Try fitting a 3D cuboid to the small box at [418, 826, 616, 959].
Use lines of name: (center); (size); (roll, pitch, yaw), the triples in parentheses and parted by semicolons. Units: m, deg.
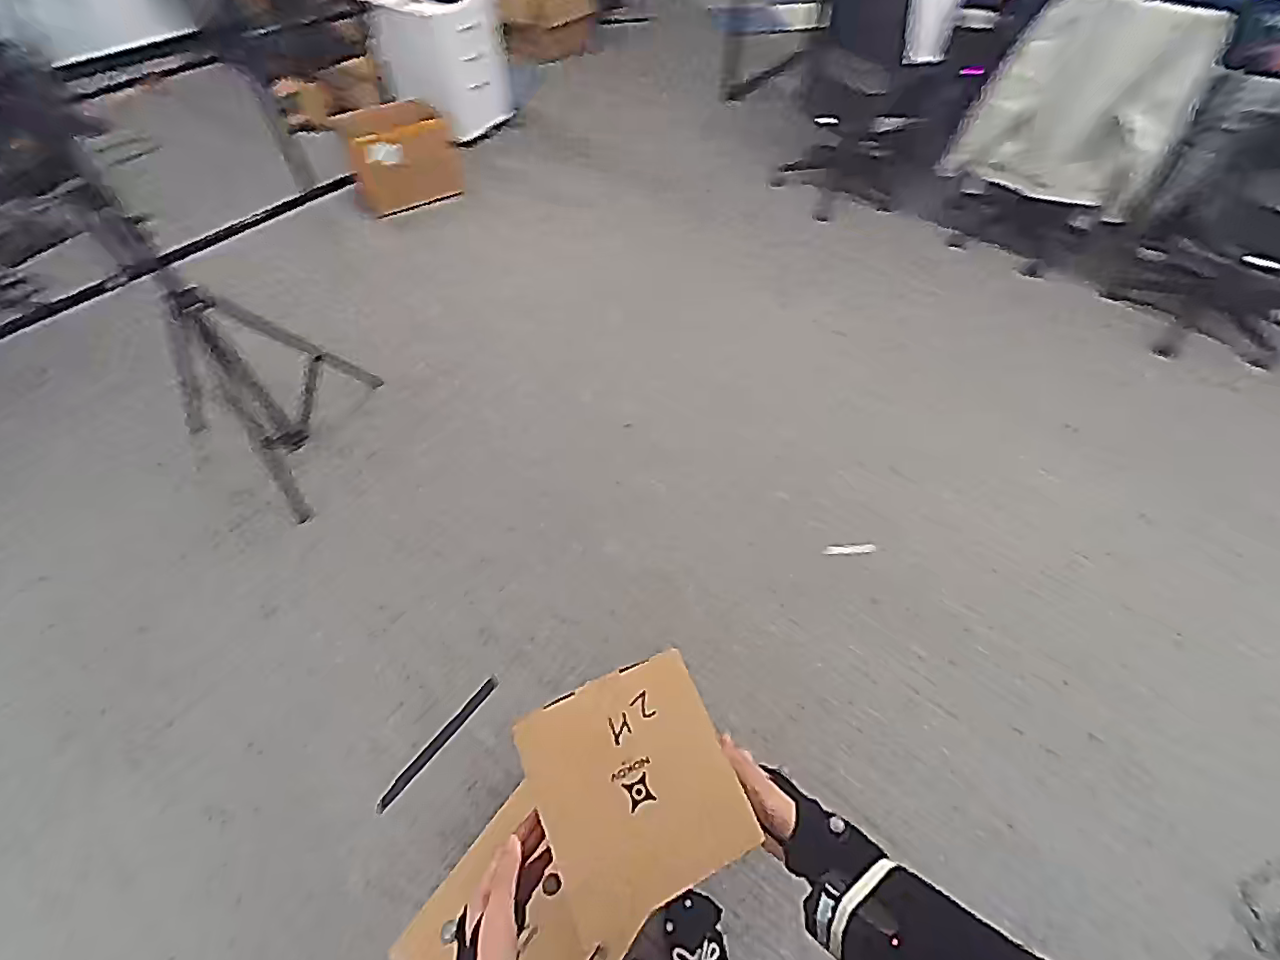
small box: (-0.146, 0.590, 0.708); (0.179, 0.176, 0.168); (31, 59, 19)
